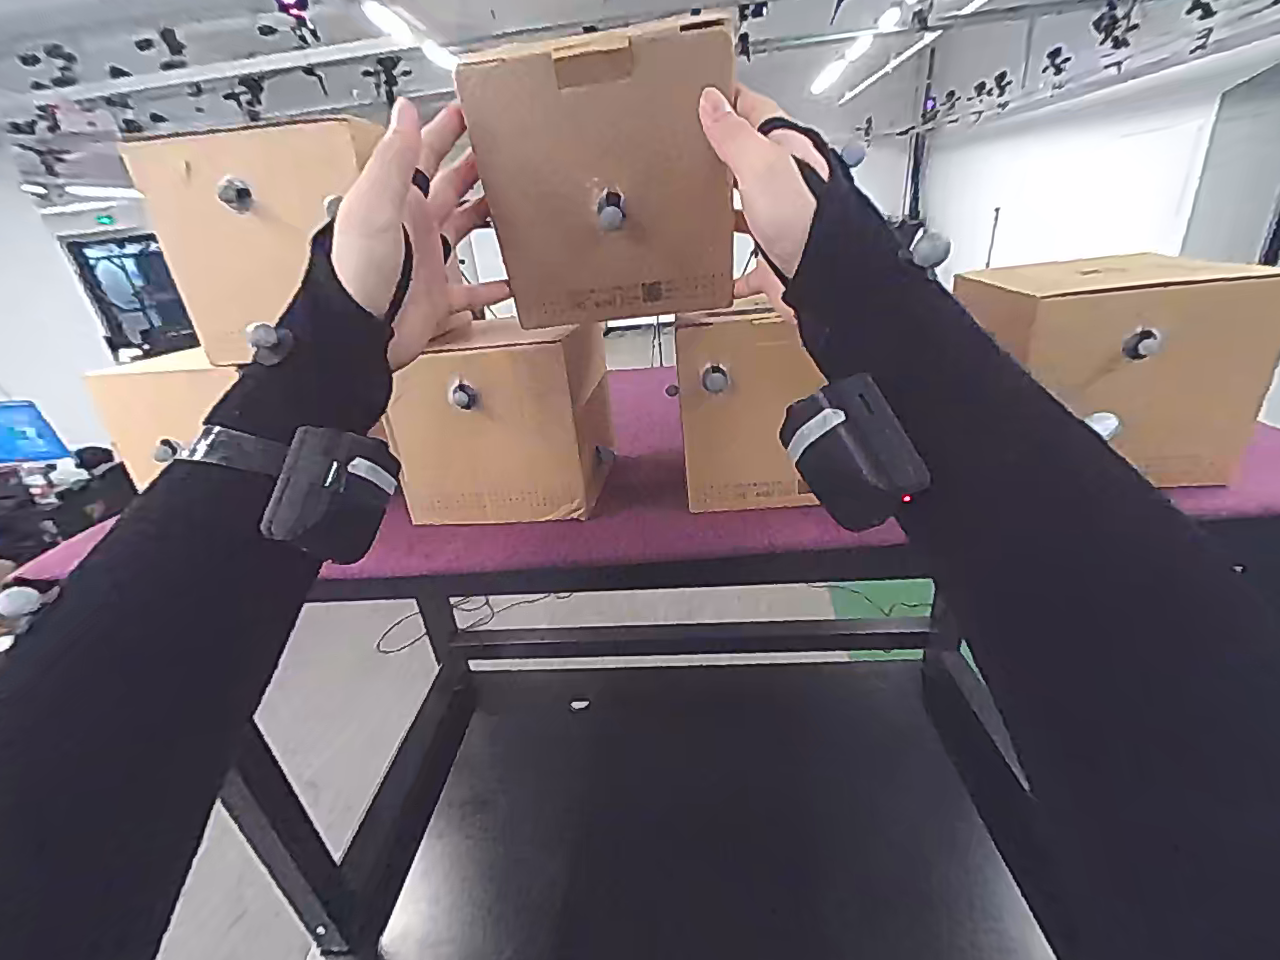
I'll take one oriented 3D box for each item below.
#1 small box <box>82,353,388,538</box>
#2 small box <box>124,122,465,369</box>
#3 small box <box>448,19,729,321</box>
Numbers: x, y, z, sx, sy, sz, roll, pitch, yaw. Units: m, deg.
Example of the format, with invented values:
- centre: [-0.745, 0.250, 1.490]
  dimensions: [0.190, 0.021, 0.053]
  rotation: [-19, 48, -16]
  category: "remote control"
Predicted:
- centre: [-0.403, -0.047, 0.578]
  dimensions: [0.168, 0.176, 0.179]
  rotation: [-2, 23, 9]
  category: "small box"
- centre: [-0.284, -0.202, 0.492]
  dimensions: [0.179, 0.176, 0.168]
  rotation: [-3, 24, 4]
  category: "small box"
- centre: [-0.023, -0.236, 0.426]
  dimensions: [0.168, 0.176, 0.179]
  rotation: [-6, 41, 5]
  category: "small box"
